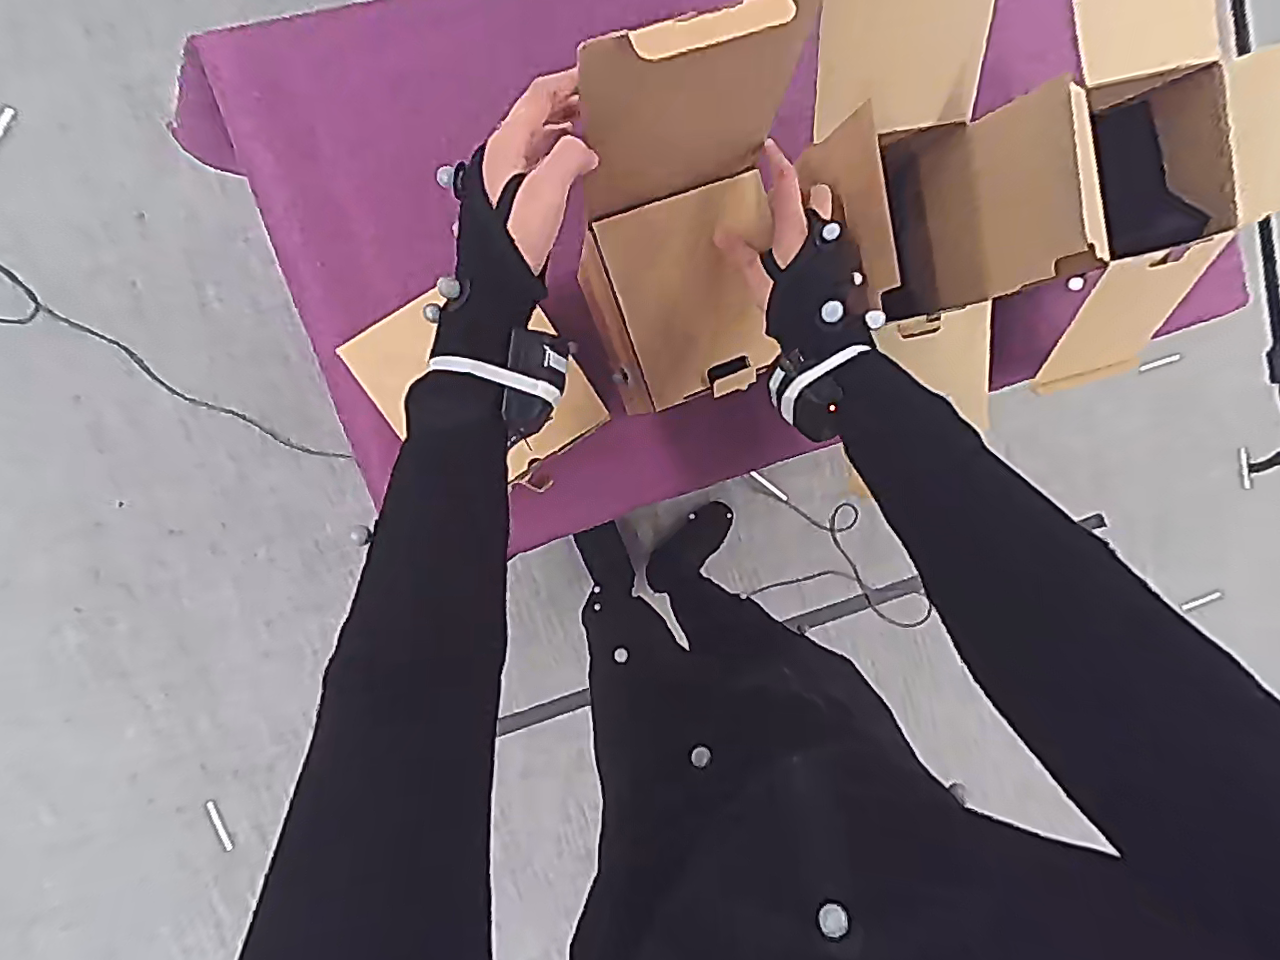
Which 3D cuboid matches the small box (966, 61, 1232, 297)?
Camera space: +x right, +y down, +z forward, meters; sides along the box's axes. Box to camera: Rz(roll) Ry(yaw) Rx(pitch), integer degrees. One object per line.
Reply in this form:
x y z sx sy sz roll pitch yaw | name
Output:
0.517 -0.334 0.632 0.168 0.176 0.179 -15 98 -6 | small box
